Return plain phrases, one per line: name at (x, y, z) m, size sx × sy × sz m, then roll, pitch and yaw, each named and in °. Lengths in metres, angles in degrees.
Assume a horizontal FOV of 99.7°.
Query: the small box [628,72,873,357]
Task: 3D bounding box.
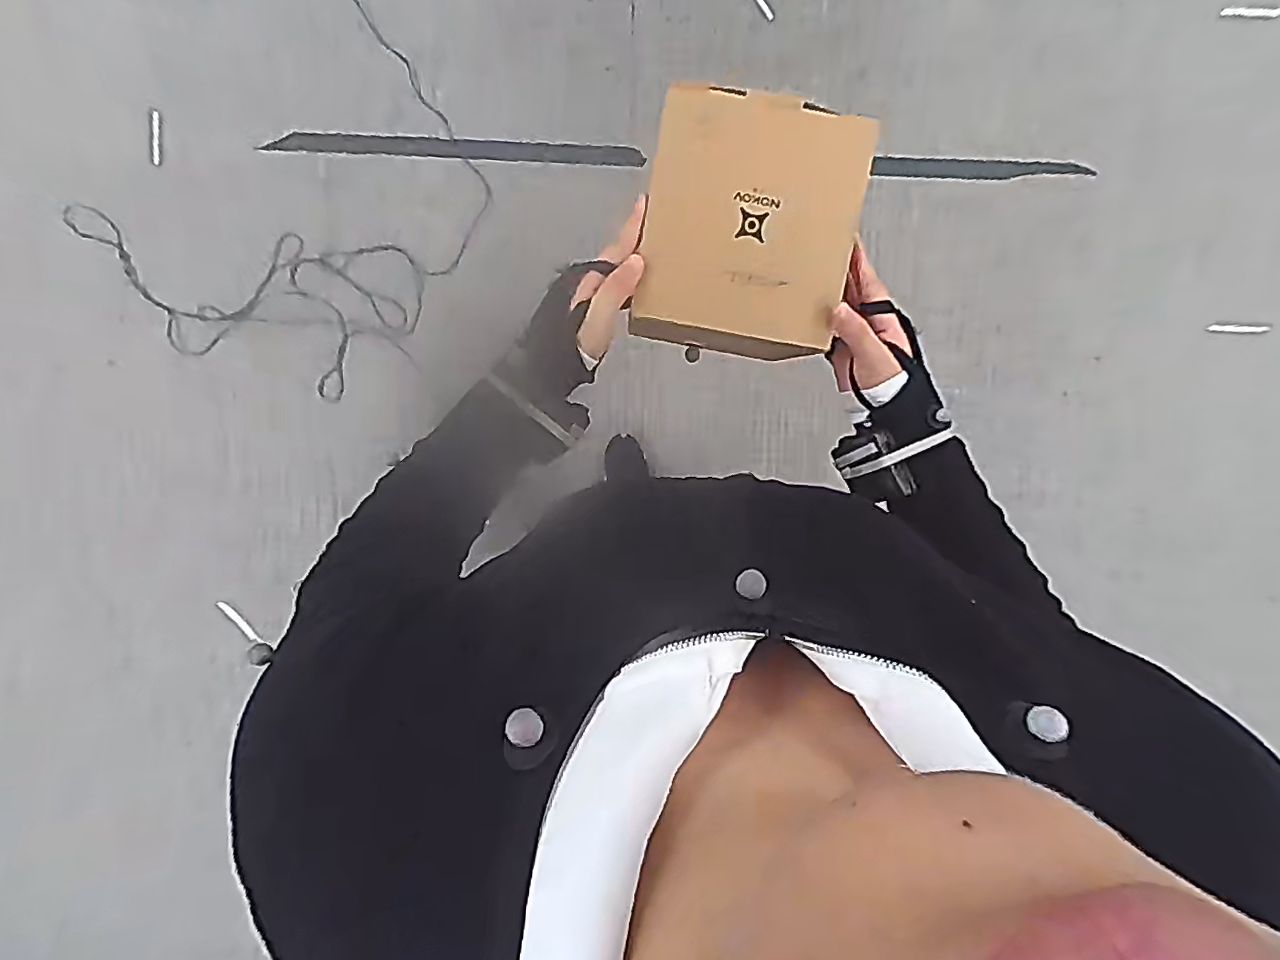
small box at (0.082, -0.219, 0.498) m, size 0.168 × 0.176 × 0.179 m, roll 10°, pitch 99°, yaw -3°
